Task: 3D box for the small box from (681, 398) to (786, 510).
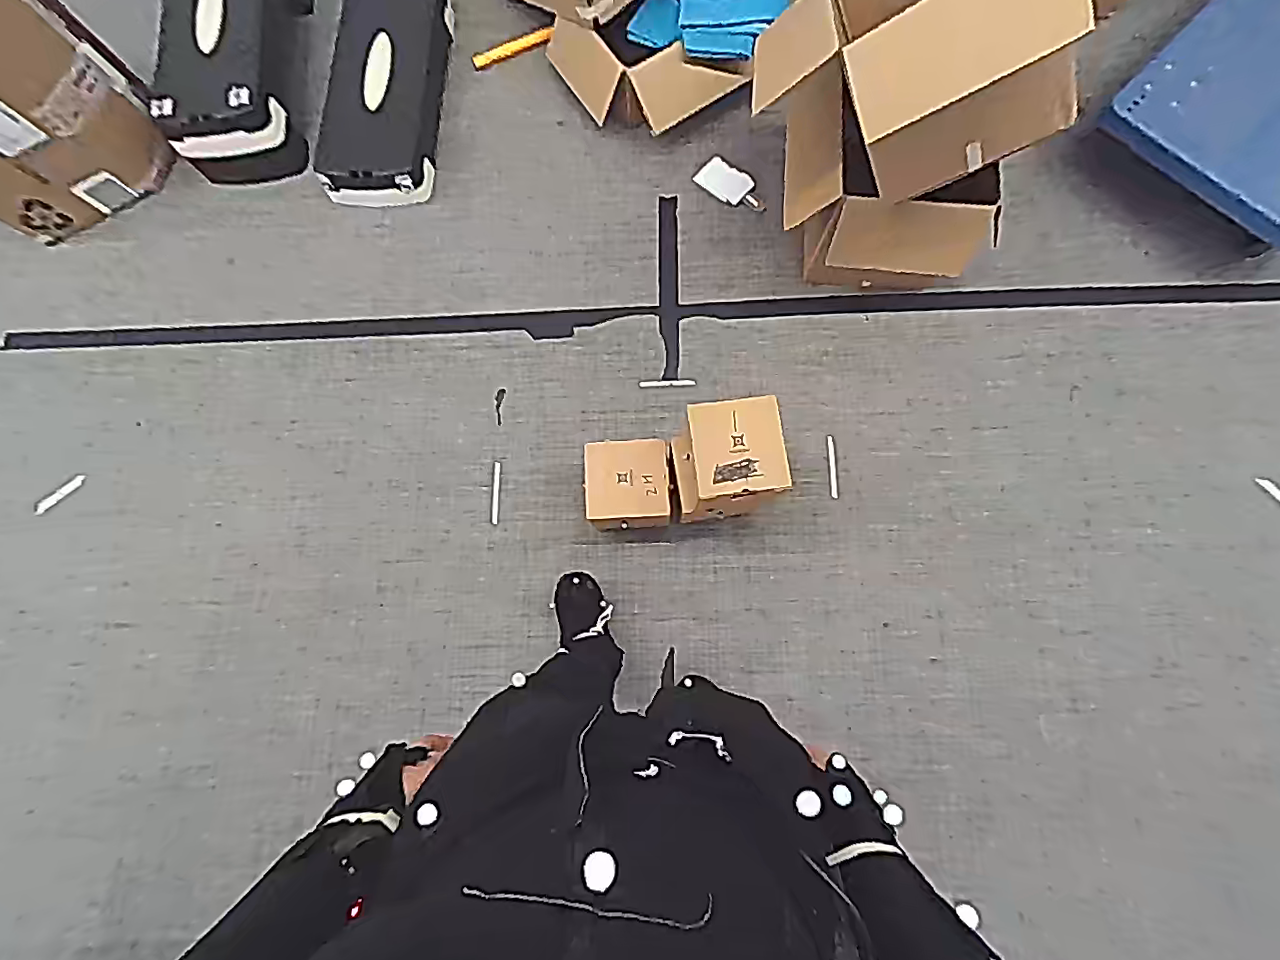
[{"bbox_3d":[0.171,-0.041,1.041,0.168,0.176,0.179,-6,77,0],"label":"small box"}]
